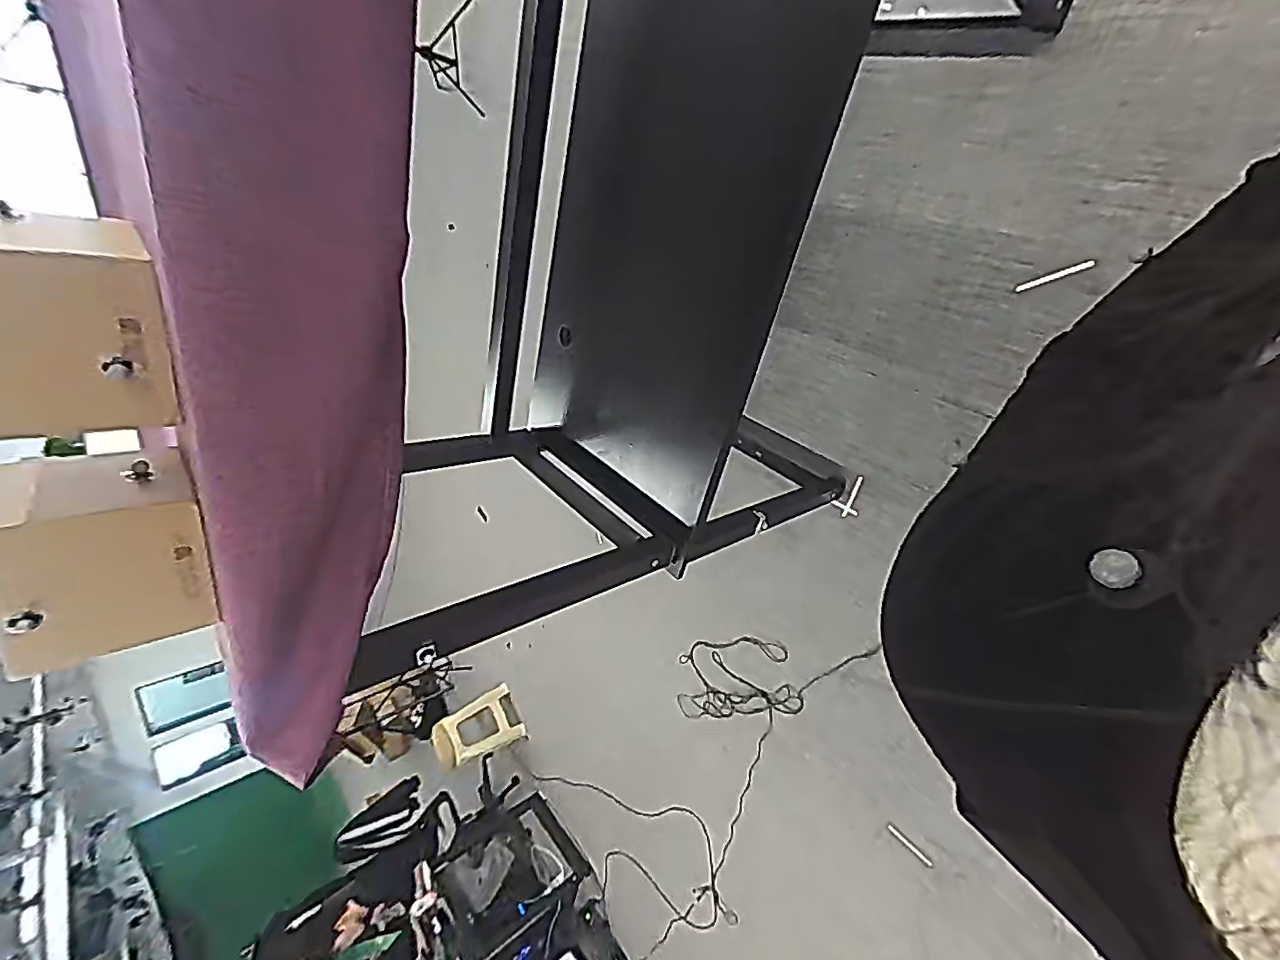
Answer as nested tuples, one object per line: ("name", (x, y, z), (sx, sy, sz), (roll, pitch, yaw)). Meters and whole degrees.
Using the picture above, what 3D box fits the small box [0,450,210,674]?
("small box", (-0.598, 0.072, 0.598), (0.179, 0.176, 0.168), (29, 120, 40))

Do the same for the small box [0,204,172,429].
("small box", (-0.566, -0.154, 0.506), (0.179, 0.176, 0.168), (36, 125, 35))
